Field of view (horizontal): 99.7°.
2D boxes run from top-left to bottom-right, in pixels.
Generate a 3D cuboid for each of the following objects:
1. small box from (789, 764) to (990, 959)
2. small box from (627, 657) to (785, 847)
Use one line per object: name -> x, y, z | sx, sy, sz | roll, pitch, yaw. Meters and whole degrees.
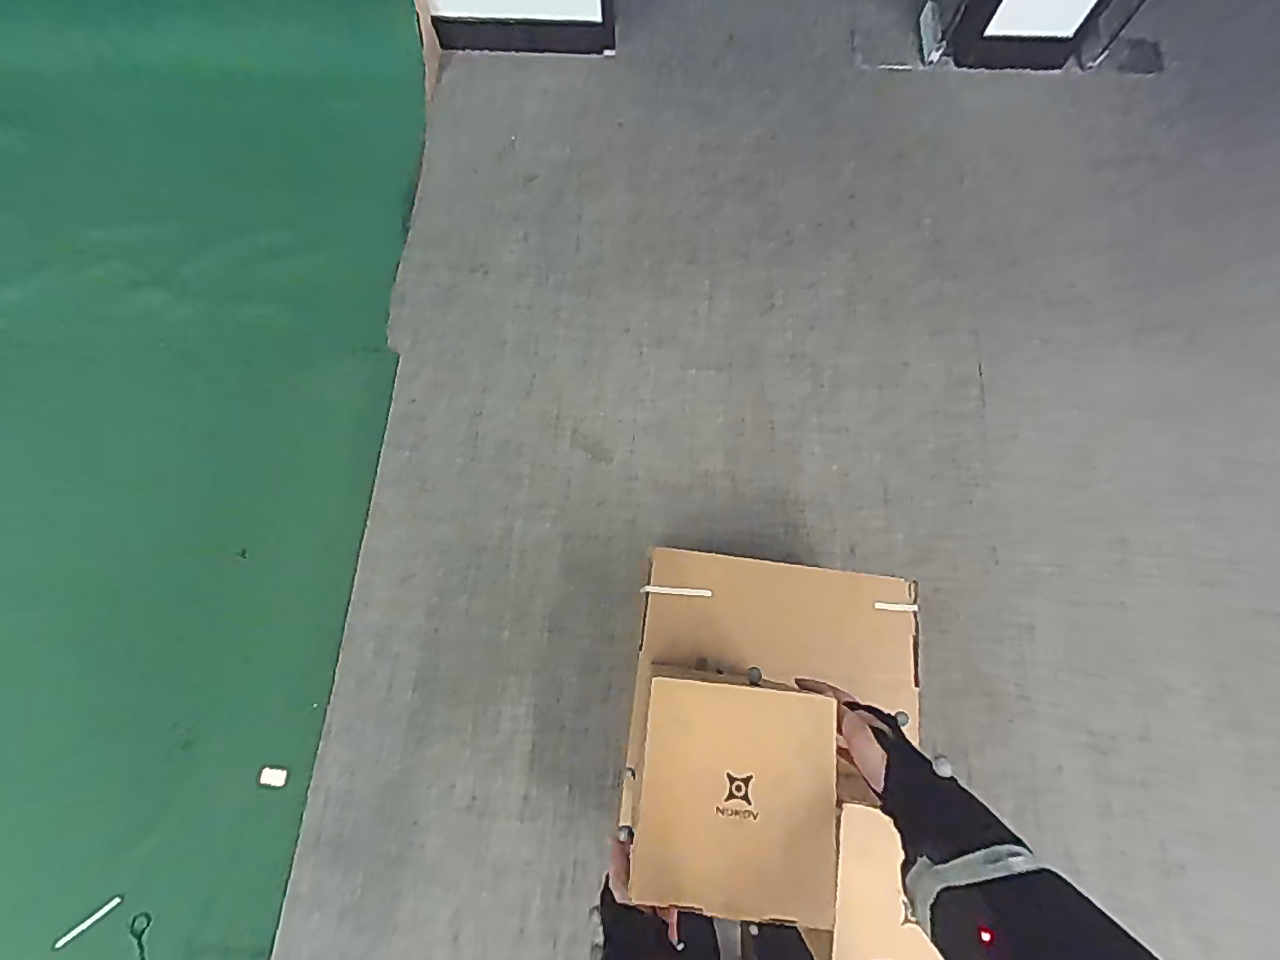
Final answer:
small box -> 0.284, 0.458, 0.646 | 0.168, 0.176, 0.179 | 9, 73, 3
small box -> 0.080, 0.329, 0.689 | 0.168, 0.176, 0.179 | 7, 73, 3
